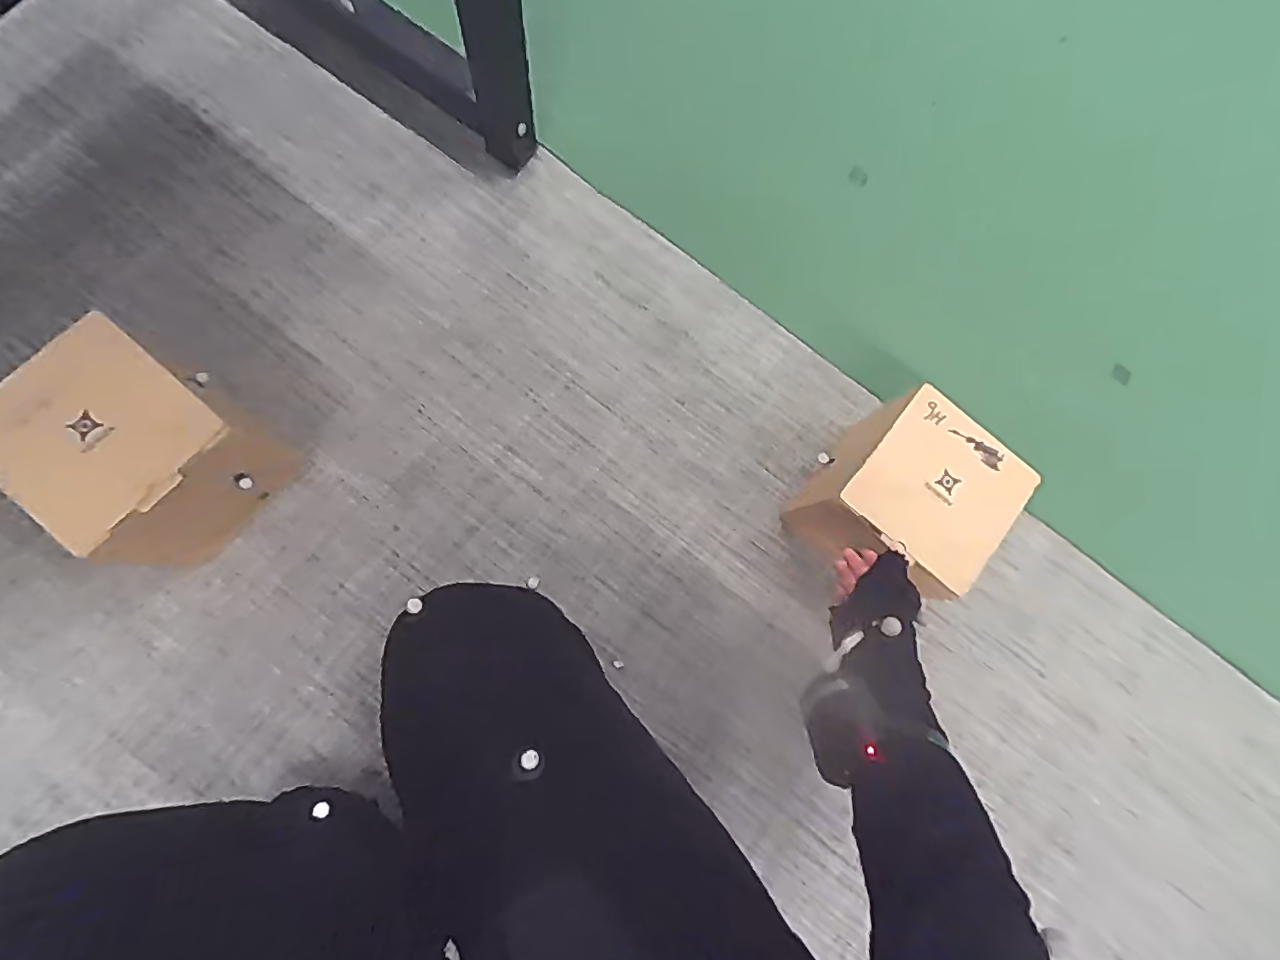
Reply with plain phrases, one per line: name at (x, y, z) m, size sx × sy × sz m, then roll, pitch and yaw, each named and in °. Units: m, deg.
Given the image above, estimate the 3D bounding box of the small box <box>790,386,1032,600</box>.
small box at (0.307, 0.024, 0.658) m, size 0.168 × 0.176 × 0.179 m, roll 41°, pitch 79°, yaw 2°

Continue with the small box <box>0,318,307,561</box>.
small box at (-0.510, -0.029, 0.579) m, size 0.179 × 0.176 × 0.168 m, roll 40°, pitch 78°, yaw 3°
